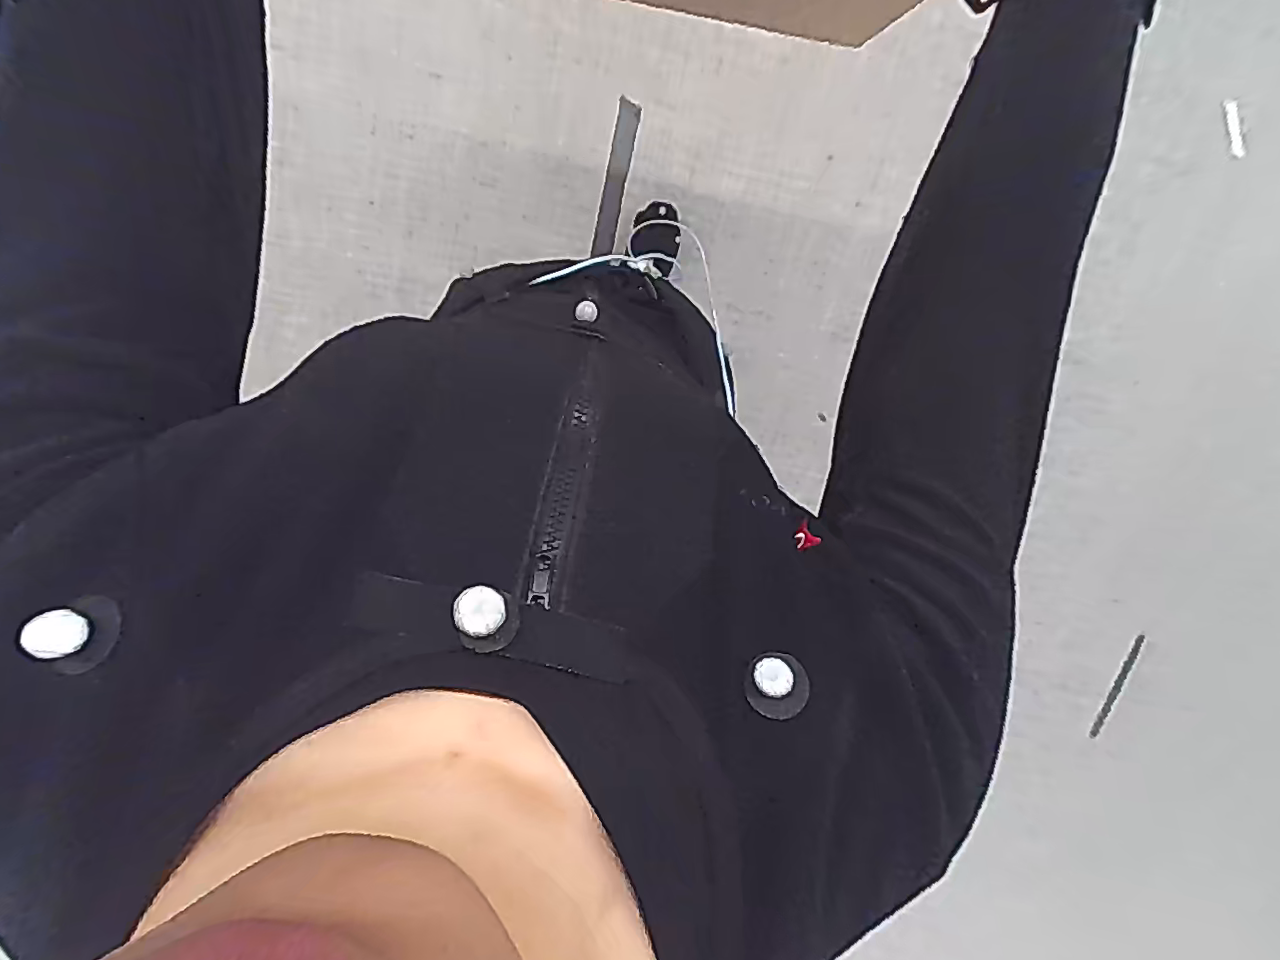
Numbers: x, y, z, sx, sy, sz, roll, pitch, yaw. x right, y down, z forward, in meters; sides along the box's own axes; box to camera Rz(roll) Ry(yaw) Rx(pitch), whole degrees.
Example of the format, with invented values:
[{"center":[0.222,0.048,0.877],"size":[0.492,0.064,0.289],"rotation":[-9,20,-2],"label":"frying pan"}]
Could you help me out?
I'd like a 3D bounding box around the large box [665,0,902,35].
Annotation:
[{"center":[0.060,-0.566,0.371],"size":[0.408,0.320,0.320],"rotation":[10,119,-3],"label":"large box"}]
